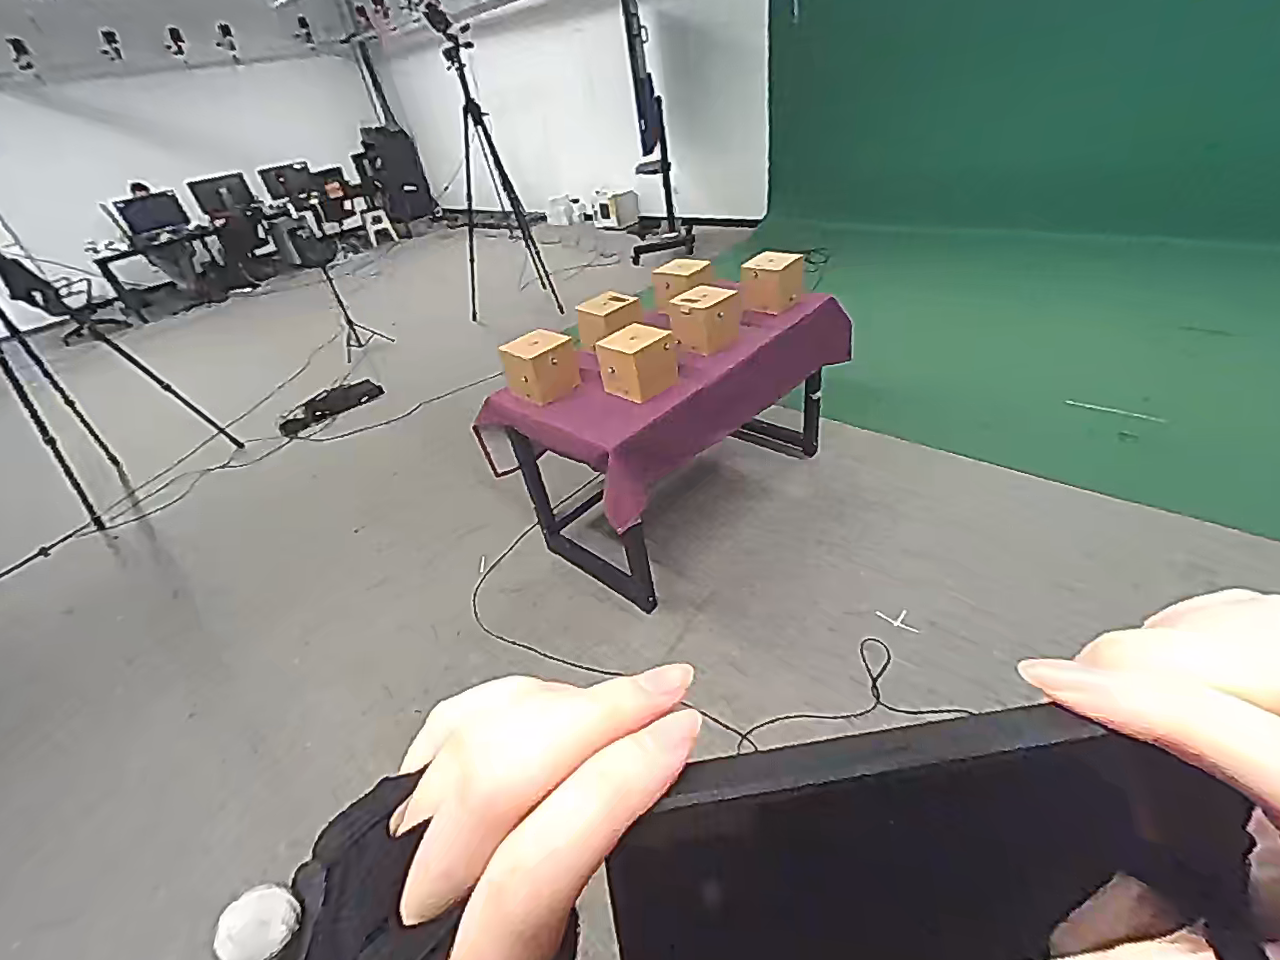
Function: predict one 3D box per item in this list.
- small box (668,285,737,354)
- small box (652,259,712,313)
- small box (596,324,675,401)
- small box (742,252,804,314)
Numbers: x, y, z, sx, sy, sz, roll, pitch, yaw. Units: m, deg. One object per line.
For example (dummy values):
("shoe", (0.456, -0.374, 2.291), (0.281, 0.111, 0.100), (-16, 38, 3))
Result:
("small box", (0.222, -0.552, 1.862), (0.179, 0.176, 0.168), (-34, 43, -29))
("small box", (0.172, -0.767, 2.154), (0.179, 0.176, 0.168), (23, 49, 36))
("small box", (-0.006, -0.363, 1.671), (0.168, 0.176, 0.179), (26, 49, 39))
("small box", (0.502, -0.749, 2.051), (0.168, 0.176, 0.179), (23, 48, 37))
